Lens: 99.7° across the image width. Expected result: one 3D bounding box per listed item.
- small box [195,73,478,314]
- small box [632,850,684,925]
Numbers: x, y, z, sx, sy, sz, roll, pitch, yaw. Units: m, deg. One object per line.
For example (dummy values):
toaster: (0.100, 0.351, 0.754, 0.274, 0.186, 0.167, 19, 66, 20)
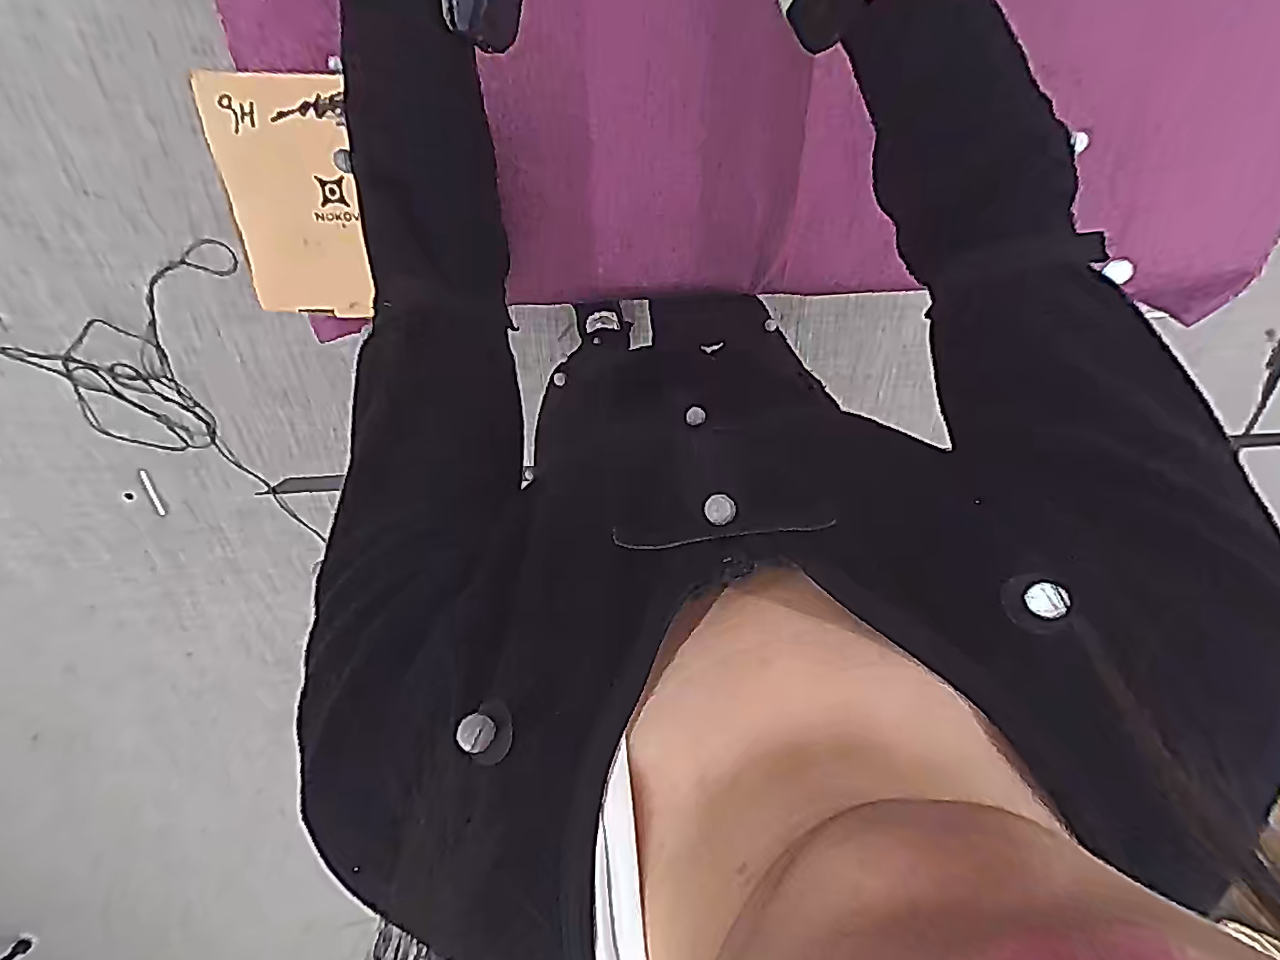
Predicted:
small box: (-0.259, -0.267, 0.518, 0.168, 0.176, 0.179, -2, 119, -6)
small box: (0.065, 1.516, 2.019, 0.179, 0.176, 0.168, -4, 118, -3)
